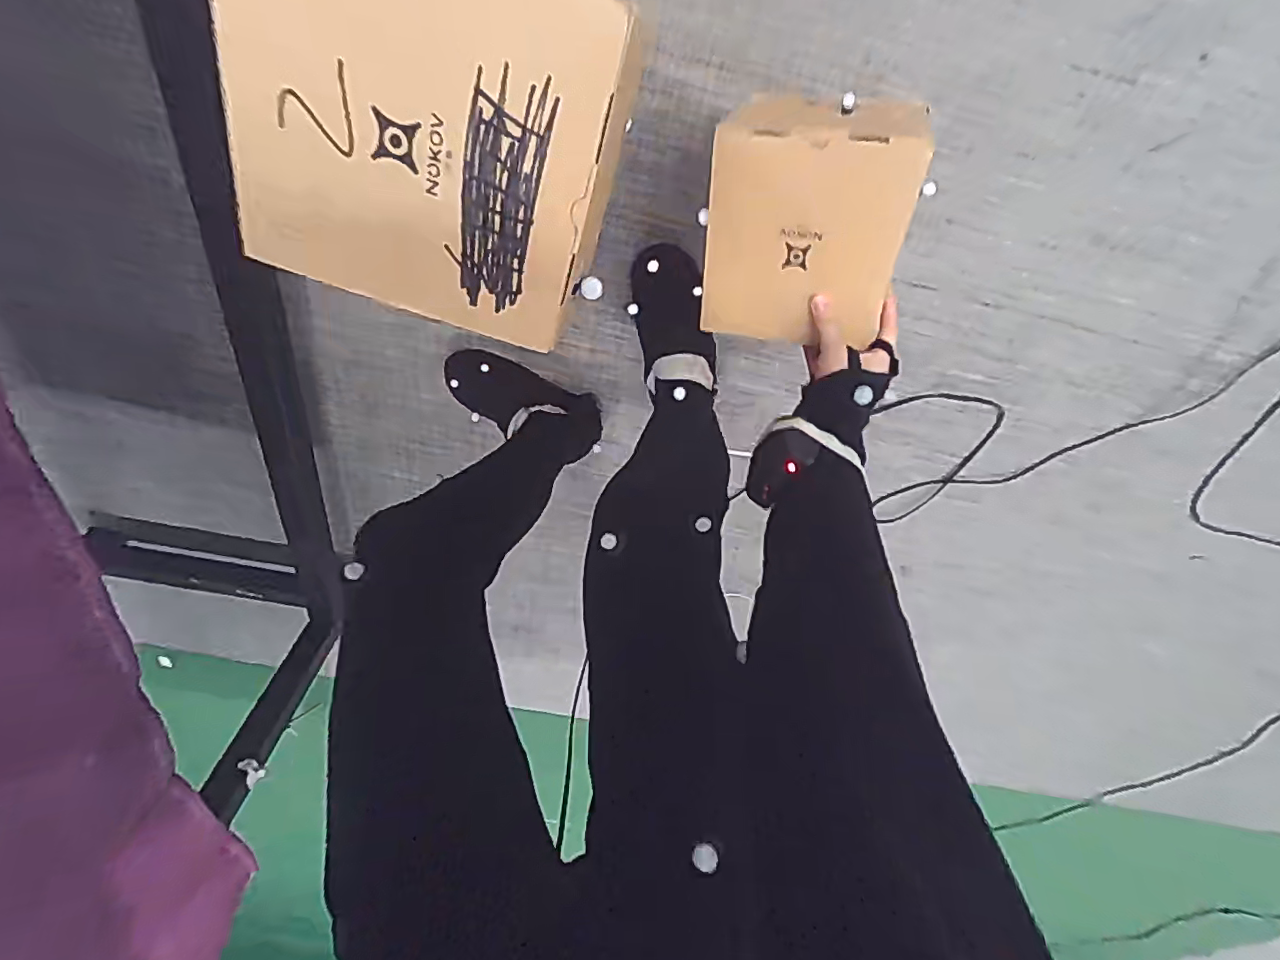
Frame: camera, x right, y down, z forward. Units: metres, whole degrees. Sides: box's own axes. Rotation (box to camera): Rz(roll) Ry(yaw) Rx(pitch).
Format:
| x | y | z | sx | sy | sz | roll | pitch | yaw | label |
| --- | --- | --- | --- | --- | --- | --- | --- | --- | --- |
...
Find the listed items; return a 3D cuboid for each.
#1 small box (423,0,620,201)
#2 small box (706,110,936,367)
| x | y | z | sx | sy | sz | roll | pitch | yaw | label |
| --- | --- | --- | --- | --- | --- | --- | --- | --- | --- |
| -0.118 | -0.427 | 0.575 | 0.168 | 0.176 | 0.179 | 11 | 129 | -4 | small box |
| 0.170 | -0.238 | 0.526 | 0.168 | 0.176 | 0.179 | 13 | 134 | 15 | small box |
